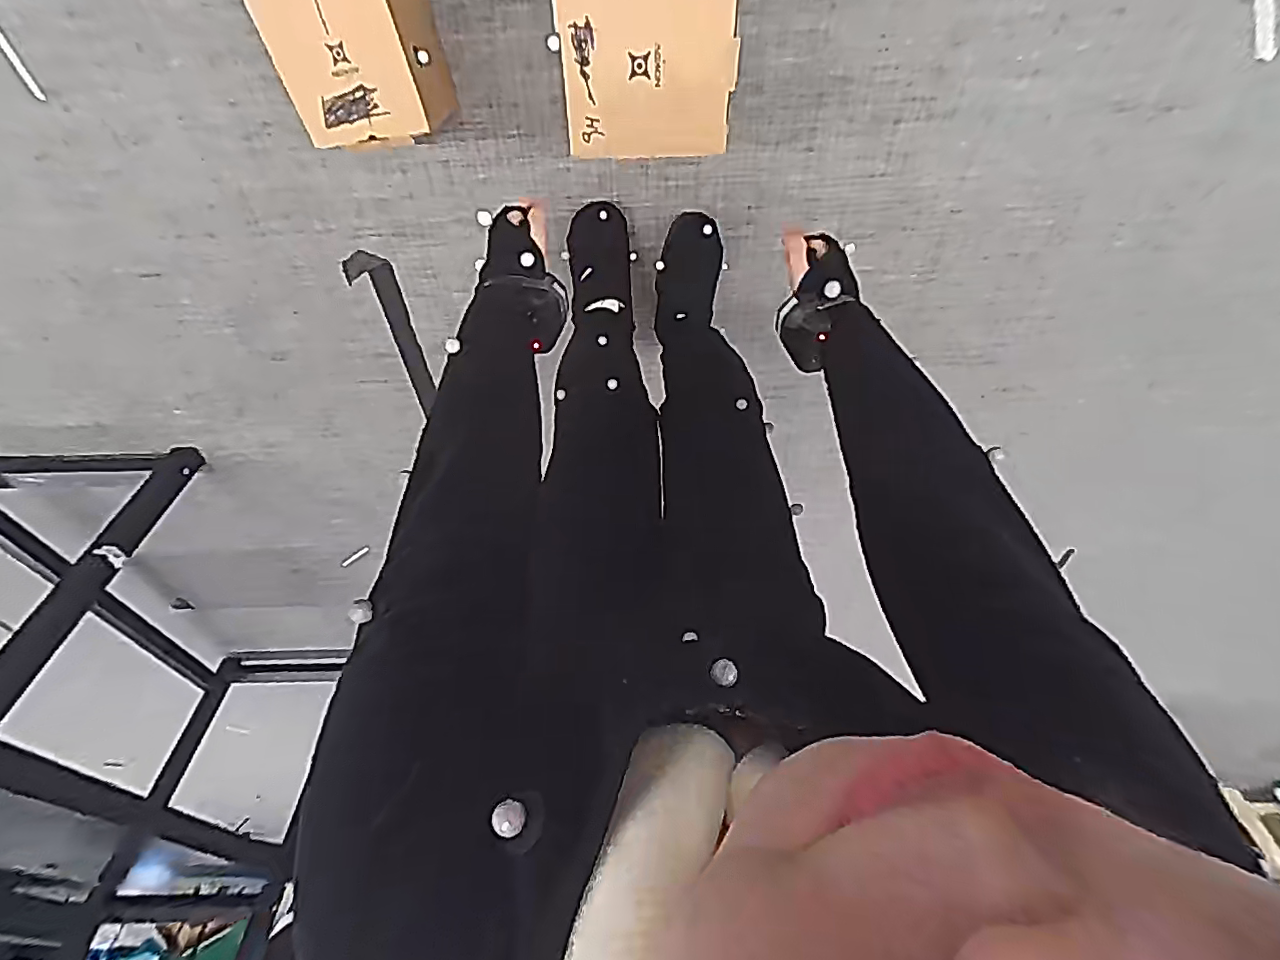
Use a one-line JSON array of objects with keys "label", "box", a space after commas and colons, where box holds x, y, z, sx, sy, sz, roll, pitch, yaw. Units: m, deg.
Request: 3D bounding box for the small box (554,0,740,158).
[{"label": "small box", "box": [0.004, -0.470, 0.594, 0.179, 0.176, 0.168, -1, 135, -1]}]

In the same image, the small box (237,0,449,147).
[{"label": "small box", "box": [-0.373, -0.570, 0.713, 0.168, 0.176, 0.179, -6, 135, 4]}]
